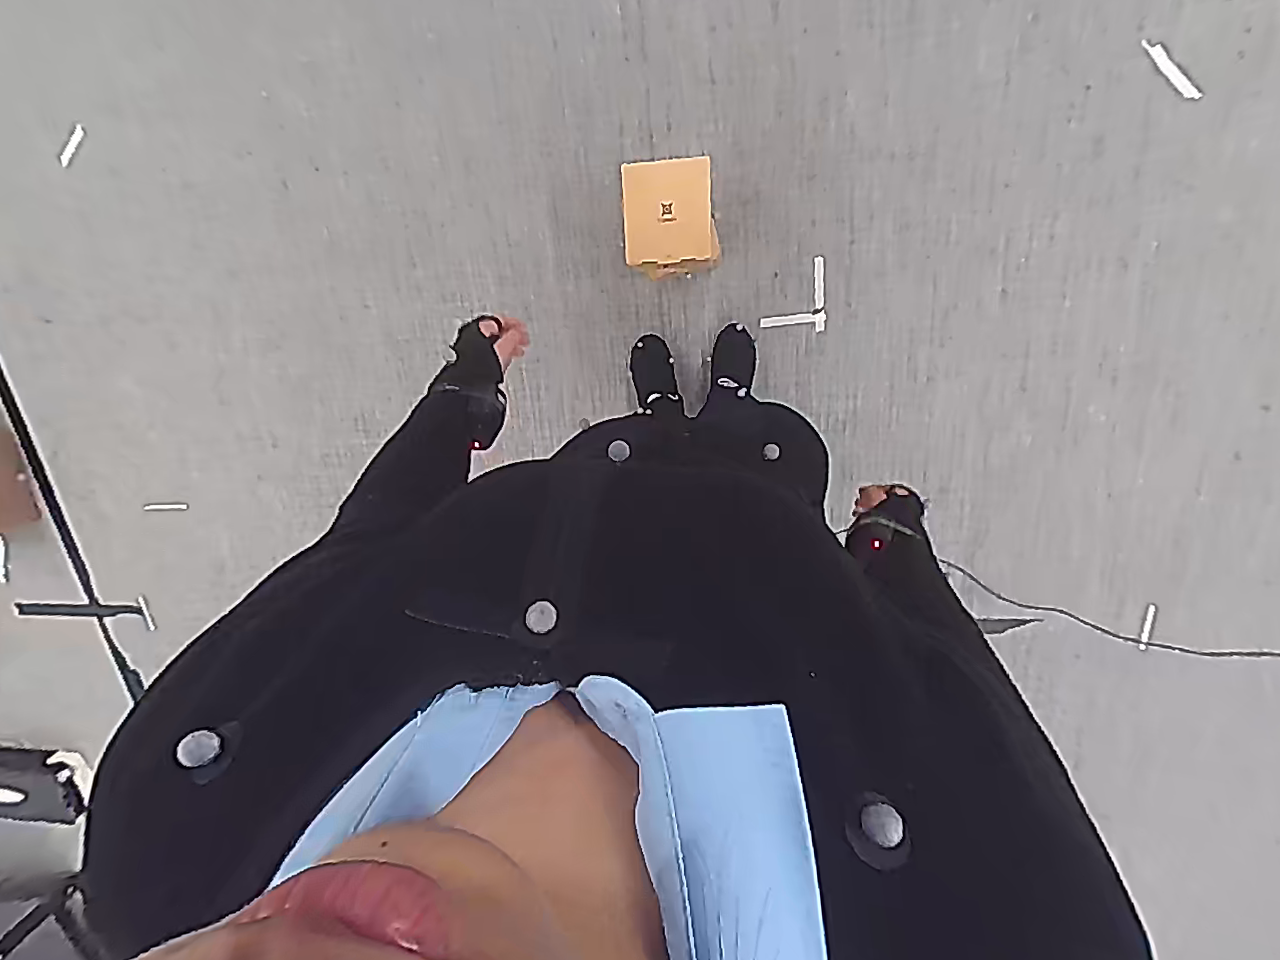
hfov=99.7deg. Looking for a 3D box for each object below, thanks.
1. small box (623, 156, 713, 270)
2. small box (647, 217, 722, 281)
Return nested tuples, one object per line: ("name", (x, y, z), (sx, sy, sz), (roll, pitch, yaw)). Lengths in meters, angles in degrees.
("small box", (0.061, -0.523, 1.081), (0.168, 0.176, 0.179), (-1, 108, 7))
("small box", (0.086, -0.566, 1.236), (0.168, 0.176, 0.179), (-13, 106, 11))
